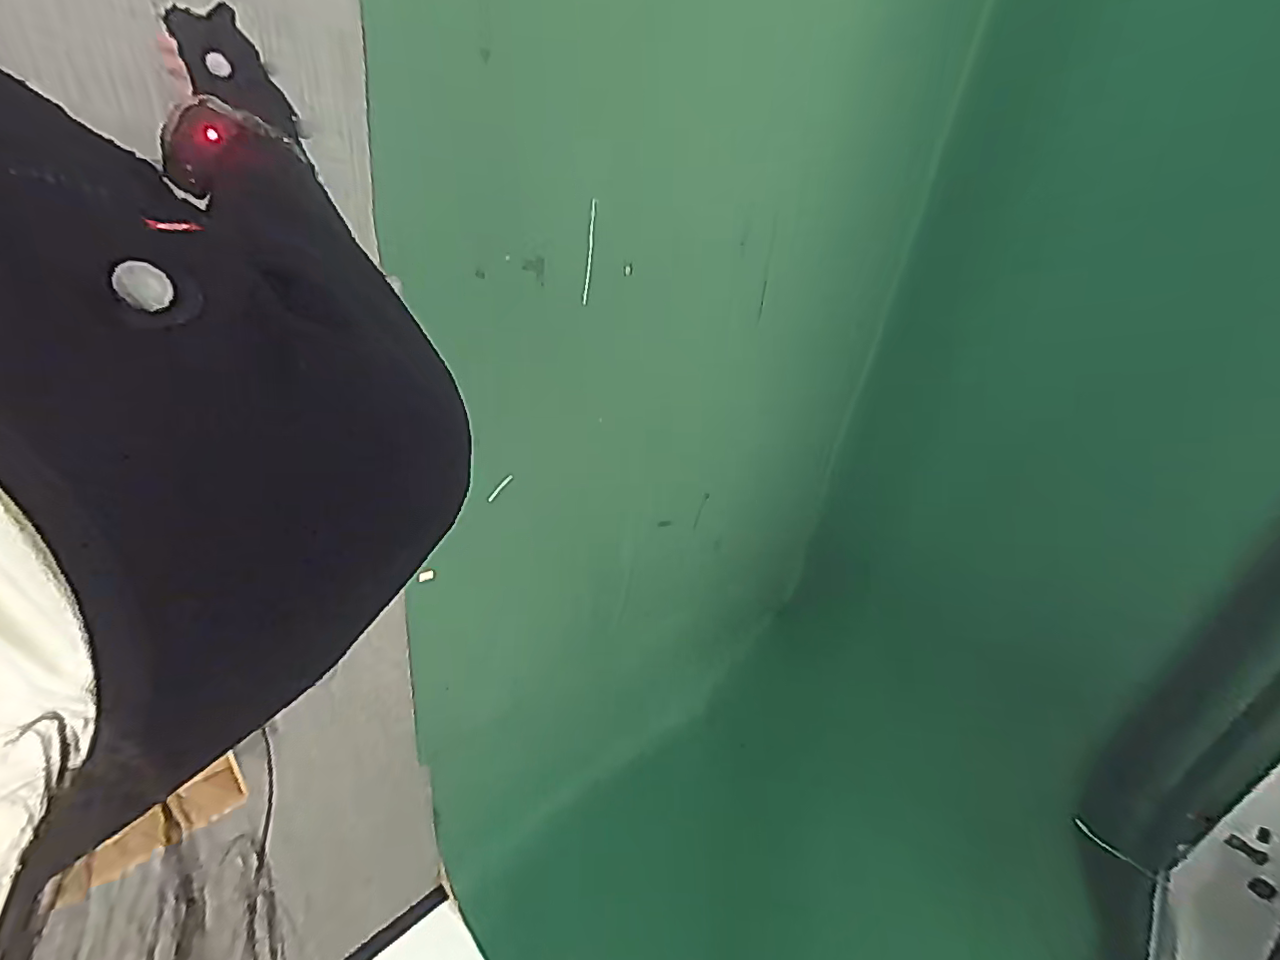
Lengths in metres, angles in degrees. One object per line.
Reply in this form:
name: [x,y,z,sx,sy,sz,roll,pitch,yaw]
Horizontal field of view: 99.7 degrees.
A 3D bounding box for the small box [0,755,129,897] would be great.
small box: [-1.268,0.741,1.183,0.168,0.176,0.179,-21,130,-40]
